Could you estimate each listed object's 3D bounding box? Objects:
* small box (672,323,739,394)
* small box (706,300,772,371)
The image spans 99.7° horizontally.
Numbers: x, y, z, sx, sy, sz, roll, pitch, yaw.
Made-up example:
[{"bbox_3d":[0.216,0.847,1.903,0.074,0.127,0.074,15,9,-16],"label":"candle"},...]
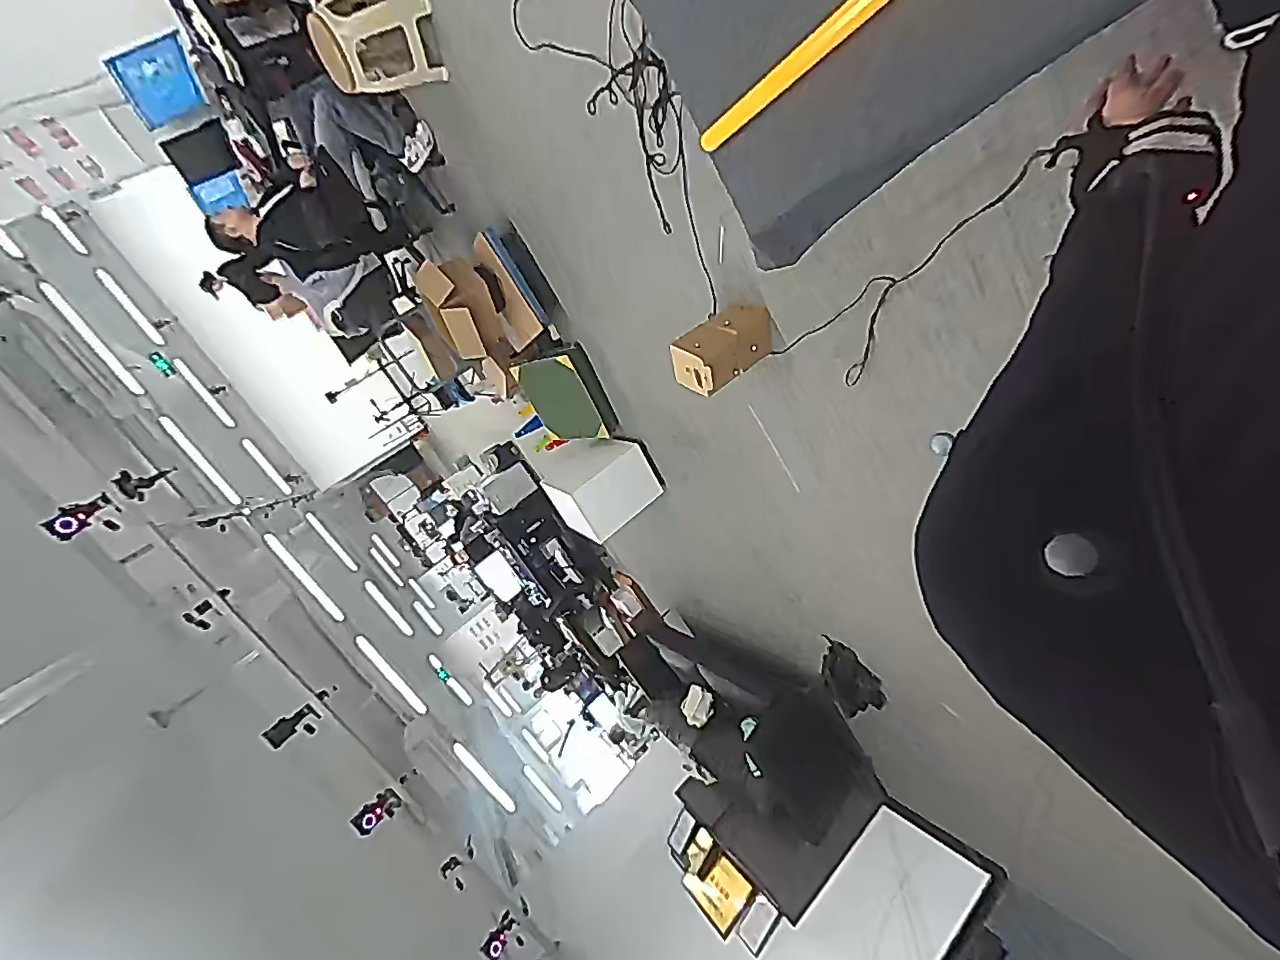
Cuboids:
[{"bbox_3d":[0.244,-0.443,1.952,0.179,0.176,0.168,36,154,39],"label":"small box"},{"bbox_3d":[0.372,-0.537,2.000,0.168,0.176,0.179,32,152,43],"label":"small box"}]
